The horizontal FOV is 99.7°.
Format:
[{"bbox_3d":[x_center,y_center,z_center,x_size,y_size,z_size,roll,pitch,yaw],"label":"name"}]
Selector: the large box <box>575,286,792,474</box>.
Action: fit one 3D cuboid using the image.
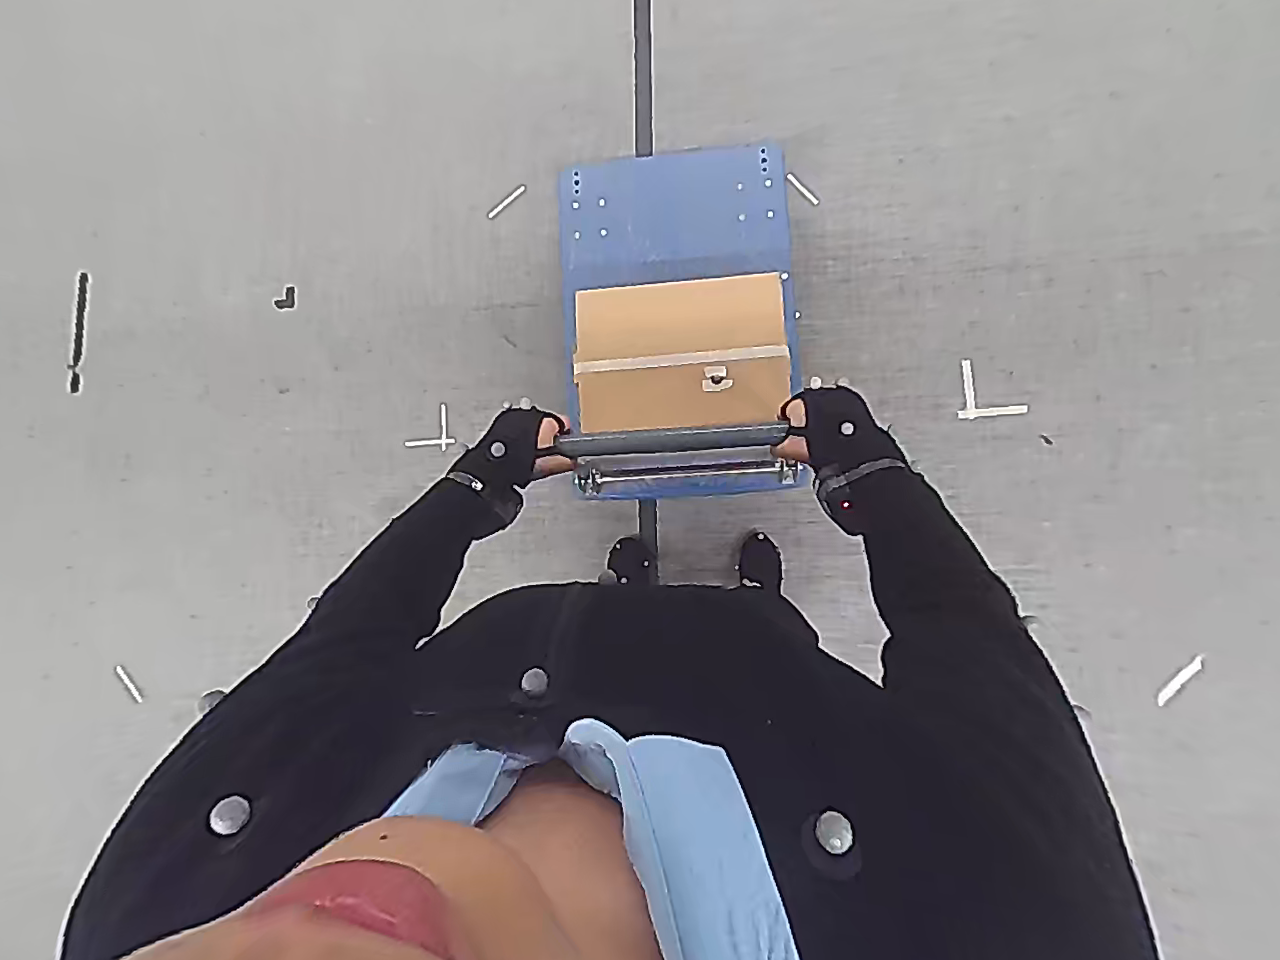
[{"bbox_3d":[0.089,-0.193,1.180,0.408,0.320,0.320,-3,86,5],"label":"large box"}]
